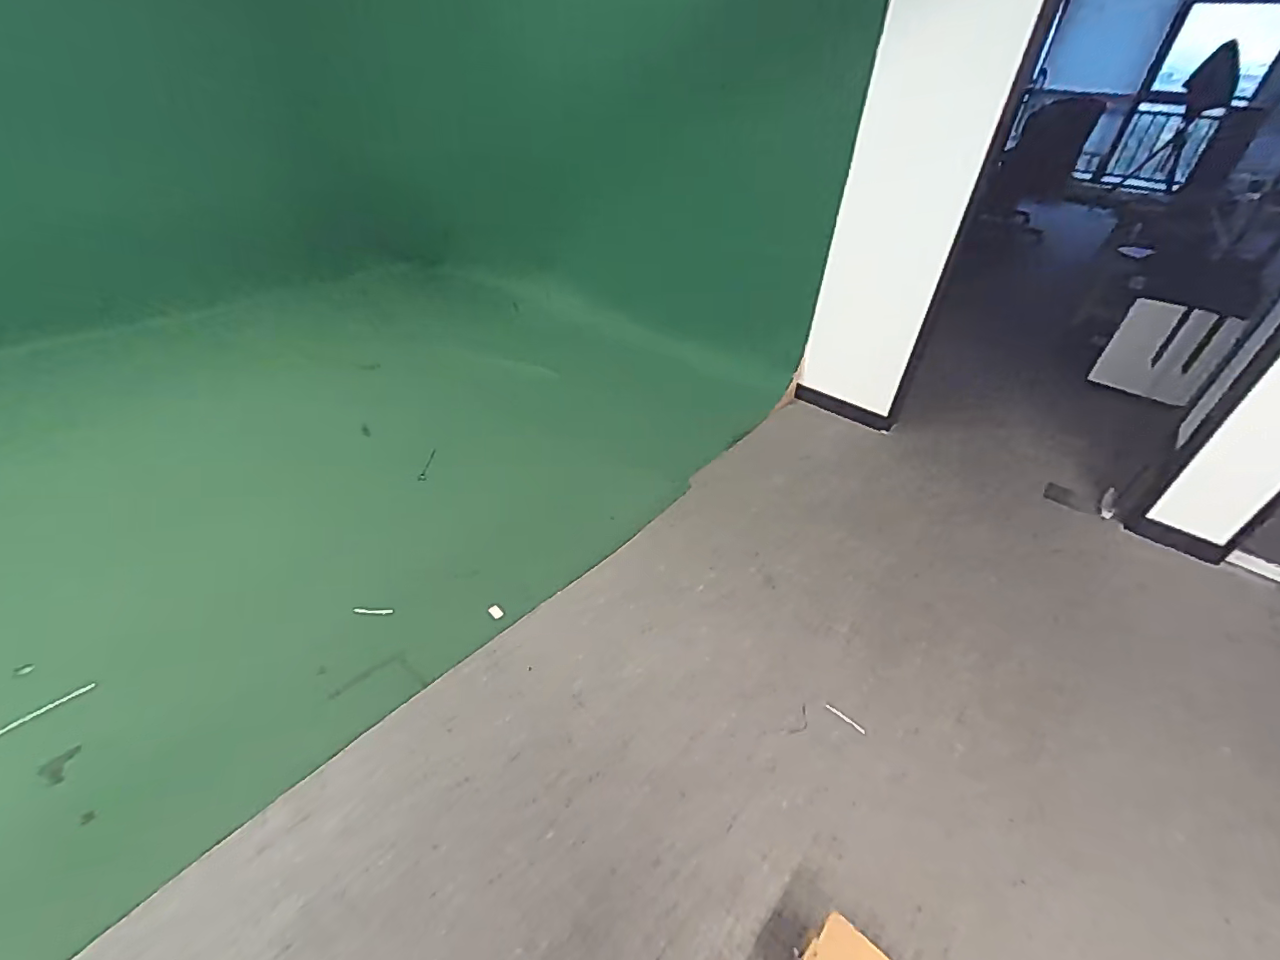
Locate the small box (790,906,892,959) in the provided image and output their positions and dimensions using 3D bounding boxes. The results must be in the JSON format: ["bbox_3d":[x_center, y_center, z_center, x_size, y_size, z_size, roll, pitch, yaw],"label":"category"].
[{"bbox_3d":[0.354,0.909,0.948,0.179,0.176,0.168,31,47,30],"label":"small box"}]
